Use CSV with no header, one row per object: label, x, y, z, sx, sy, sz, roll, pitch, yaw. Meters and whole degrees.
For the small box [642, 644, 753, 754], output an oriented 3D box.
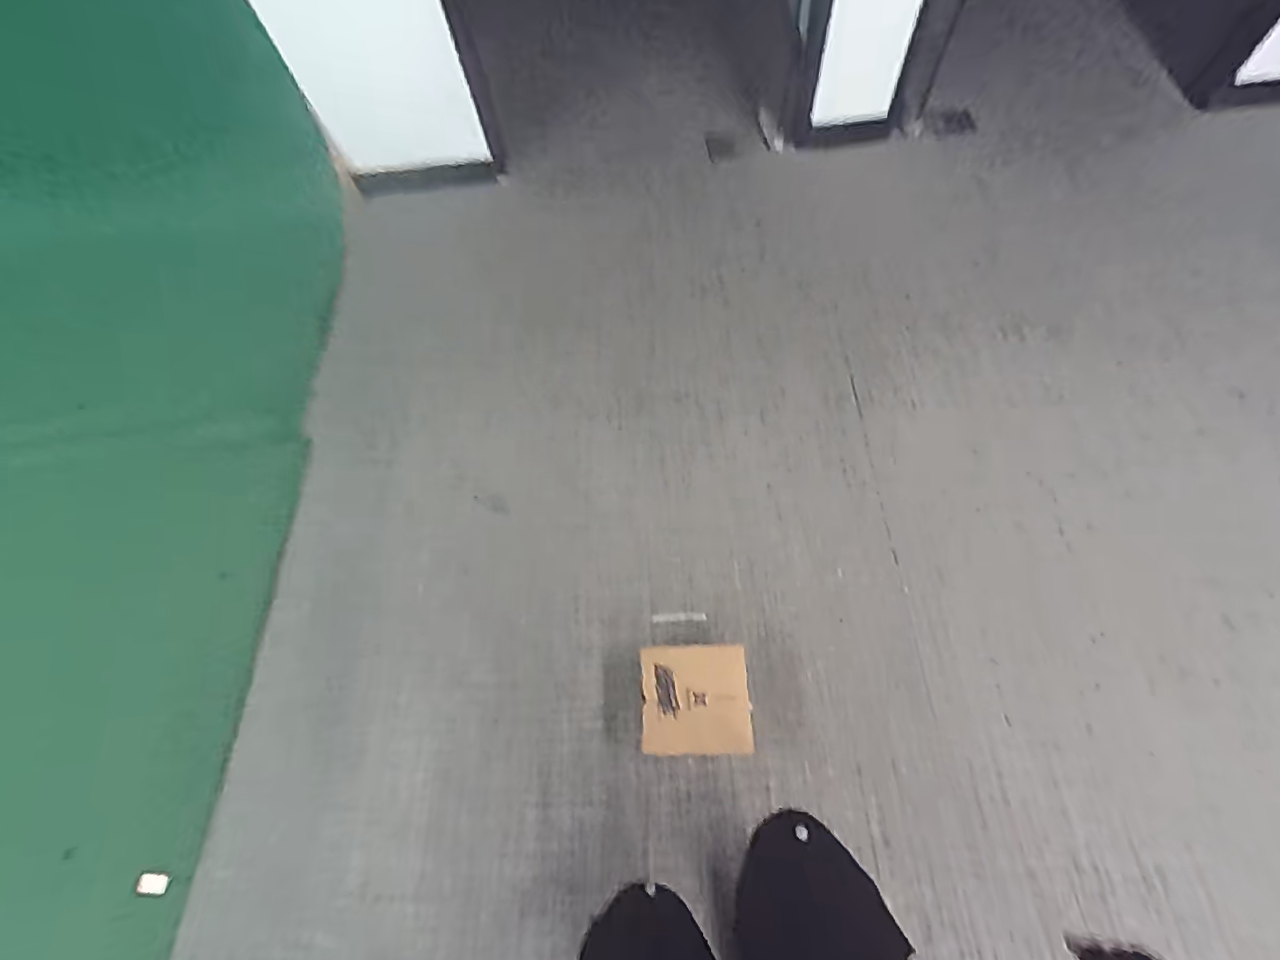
small box,0.099,0.388,0.950,0.179,0.176,0.168,-2,64,5
